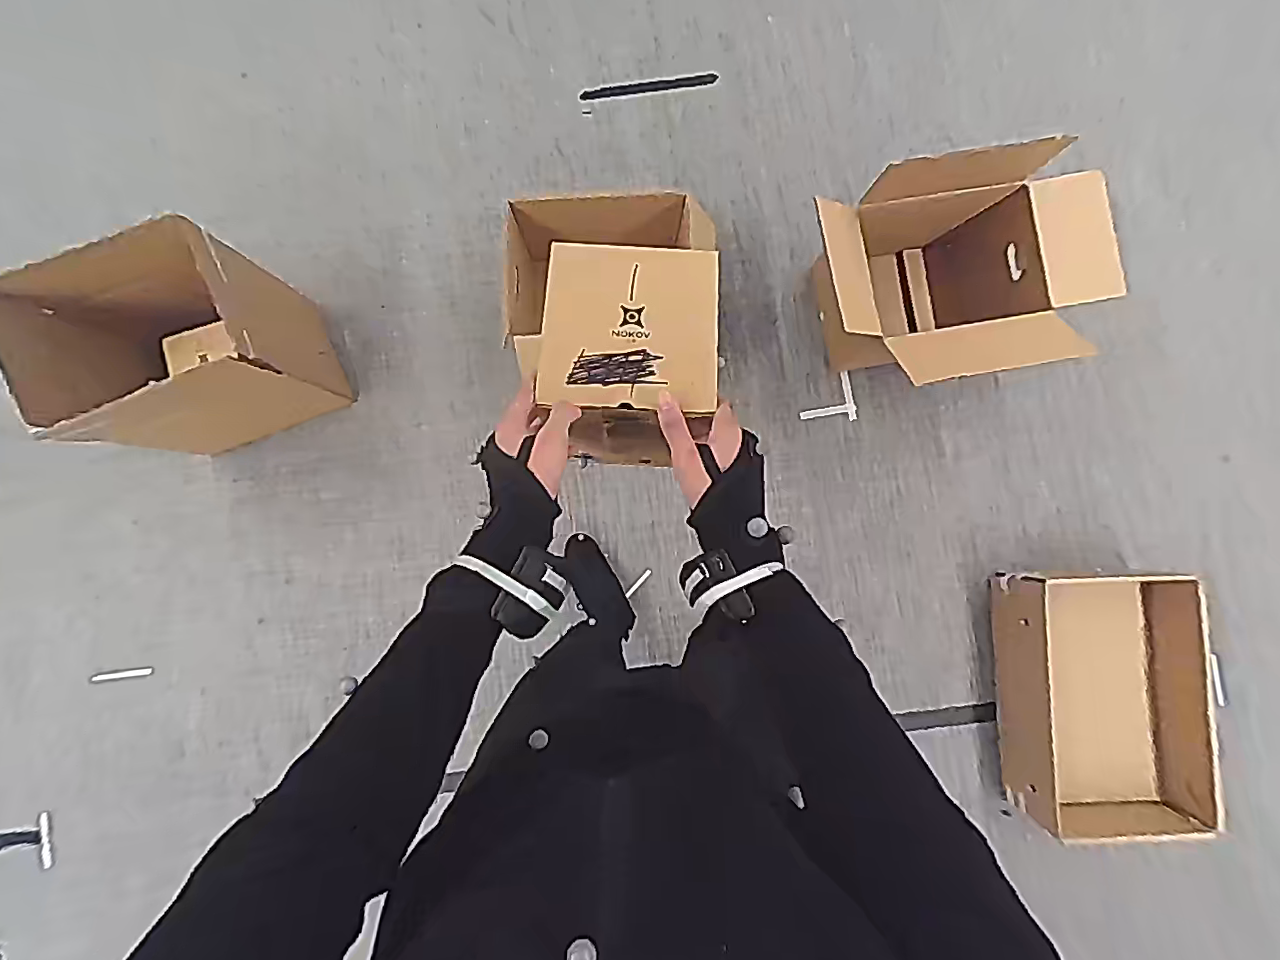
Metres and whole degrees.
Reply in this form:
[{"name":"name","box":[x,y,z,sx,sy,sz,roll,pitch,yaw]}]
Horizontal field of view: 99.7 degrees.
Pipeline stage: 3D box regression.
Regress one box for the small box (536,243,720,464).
[{"name":"small box","box":[-0.009,-0.123,0.584,0.168,0.176,0.179,3,73,-1]}]
